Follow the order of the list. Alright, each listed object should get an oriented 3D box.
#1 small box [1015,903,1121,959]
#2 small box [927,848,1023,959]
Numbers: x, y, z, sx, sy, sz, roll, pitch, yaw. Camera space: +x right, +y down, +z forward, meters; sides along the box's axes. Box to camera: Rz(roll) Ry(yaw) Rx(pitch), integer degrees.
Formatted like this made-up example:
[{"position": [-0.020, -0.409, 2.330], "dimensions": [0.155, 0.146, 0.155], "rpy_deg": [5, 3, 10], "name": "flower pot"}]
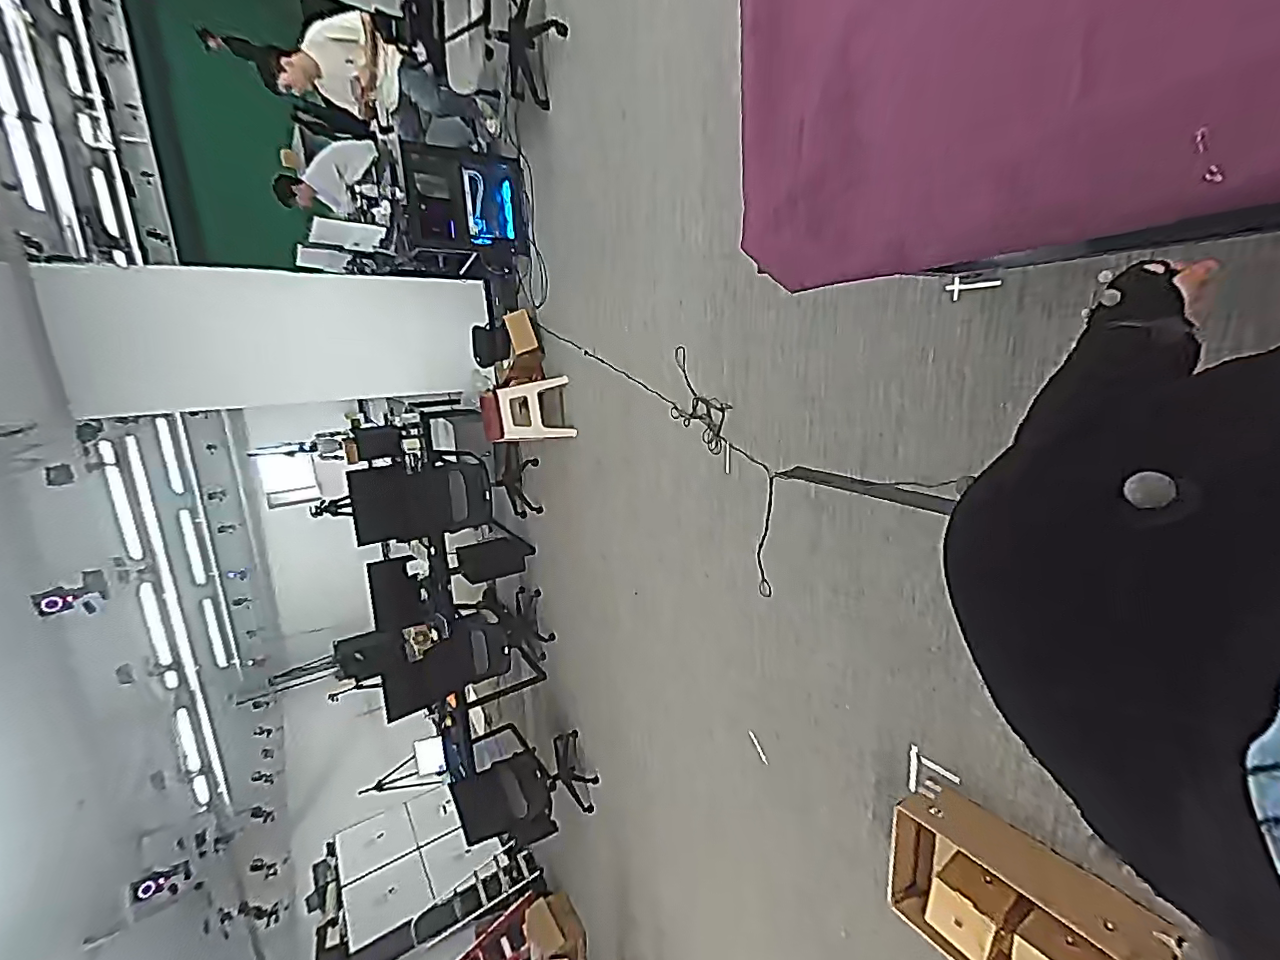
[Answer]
[{"position": [1.078, 1.236, 1.366], "dimensions": [0.168, 0.176, 0.179], "rpy_deg": [15, 112, 57], "name": "small box"}, {"position": [0.960, 1.218, 1.549], "dimensions": [0.168, 0.176, 0.179], "rpy_deg": [24, 119, 52], "name": "small box"}]
